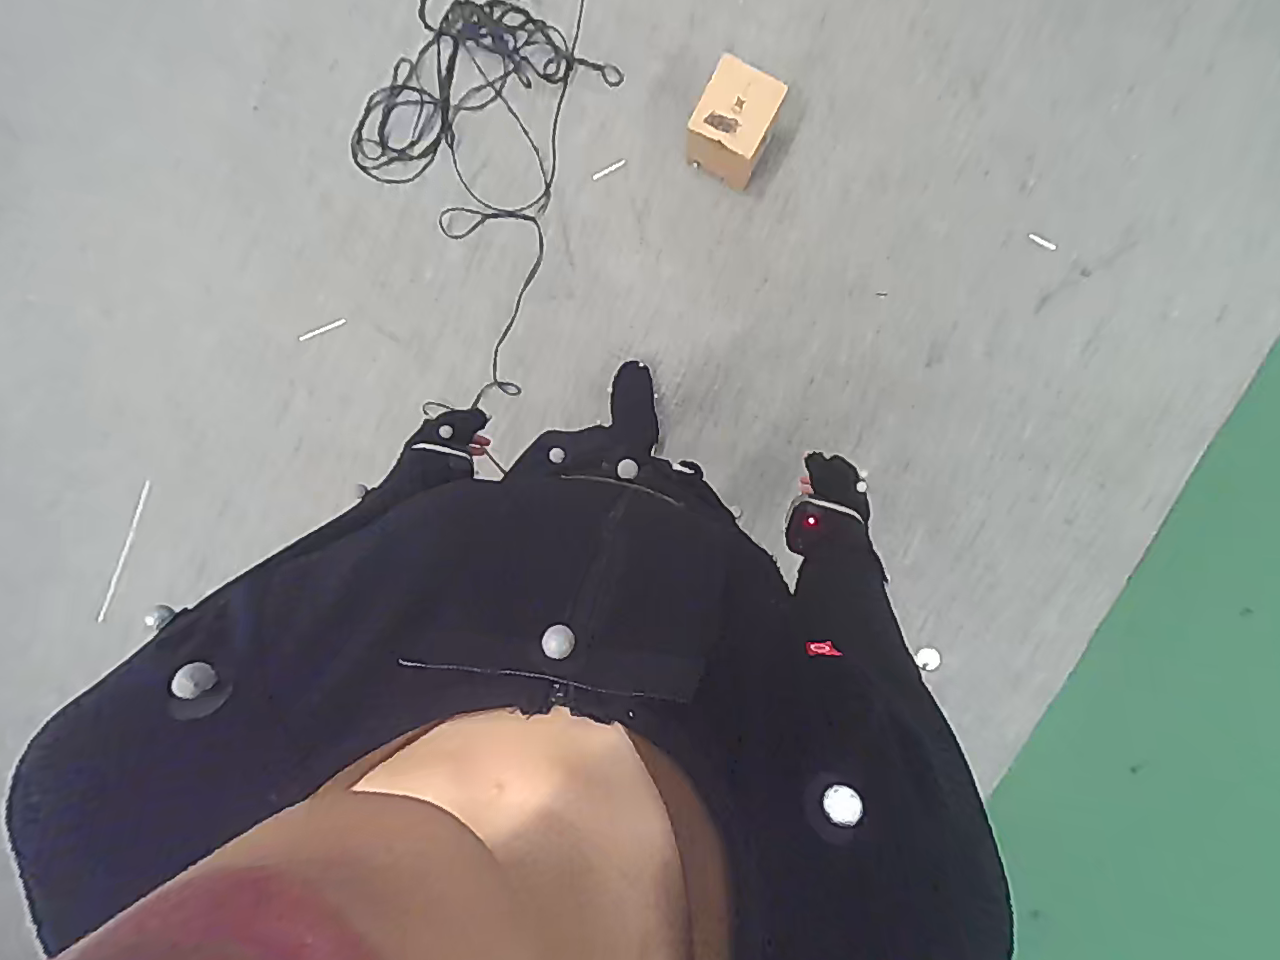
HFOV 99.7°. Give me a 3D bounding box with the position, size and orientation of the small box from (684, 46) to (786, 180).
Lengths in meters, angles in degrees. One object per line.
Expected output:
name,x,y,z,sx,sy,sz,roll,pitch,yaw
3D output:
small box,0.218,-0.852,1.277,0.168,0.176,0.179,29,97,0
